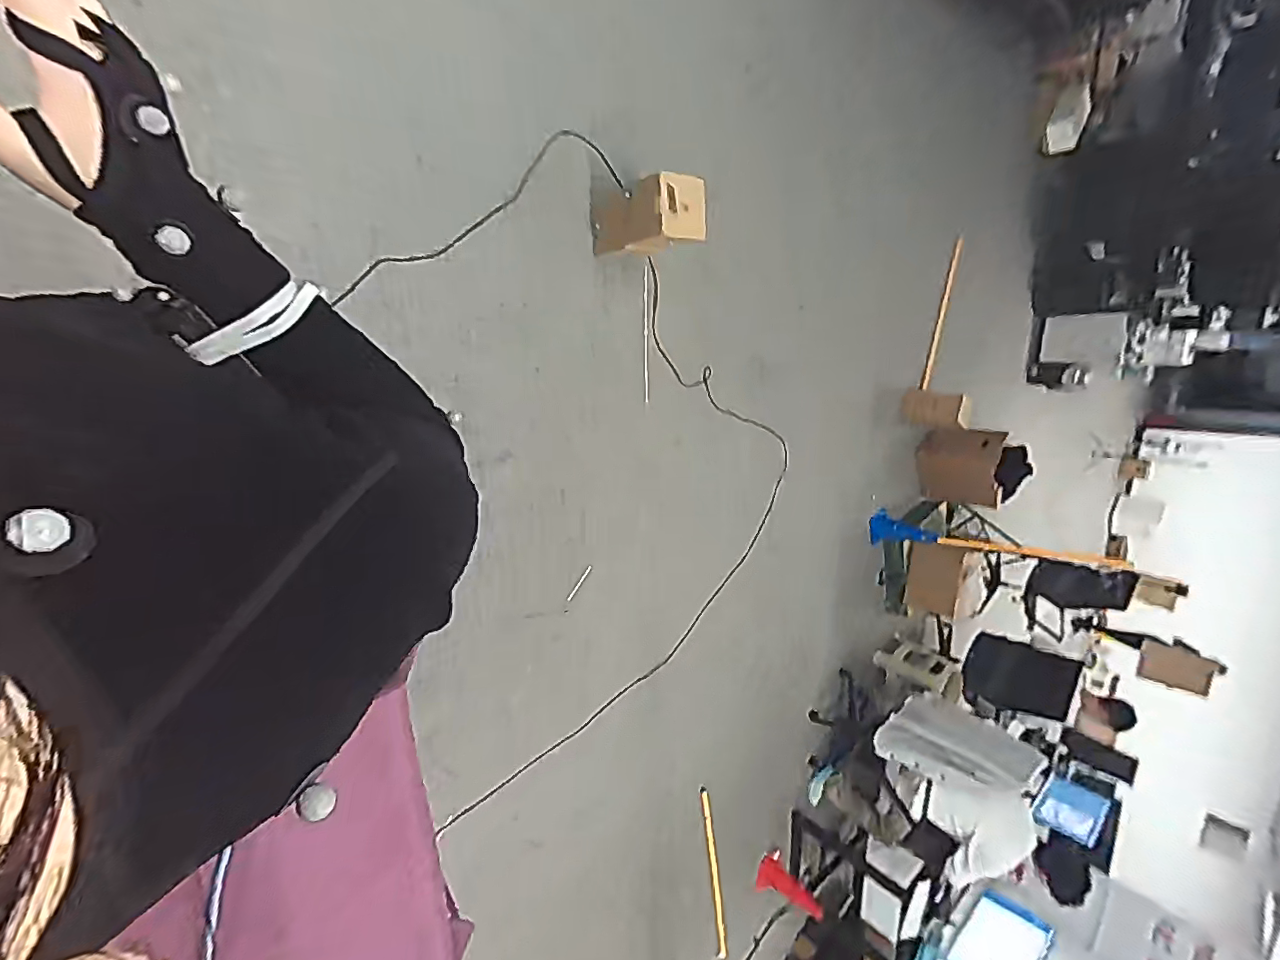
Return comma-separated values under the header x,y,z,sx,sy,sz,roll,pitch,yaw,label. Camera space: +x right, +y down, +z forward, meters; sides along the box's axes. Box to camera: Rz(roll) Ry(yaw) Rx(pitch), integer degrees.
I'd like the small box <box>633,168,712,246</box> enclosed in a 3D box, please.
x,y,z,sx,sy,sz,roll,pitch,yaw,label
0.091,-0.793,1.589,0.179,0.176,0.168,-15,109,-37,small box
